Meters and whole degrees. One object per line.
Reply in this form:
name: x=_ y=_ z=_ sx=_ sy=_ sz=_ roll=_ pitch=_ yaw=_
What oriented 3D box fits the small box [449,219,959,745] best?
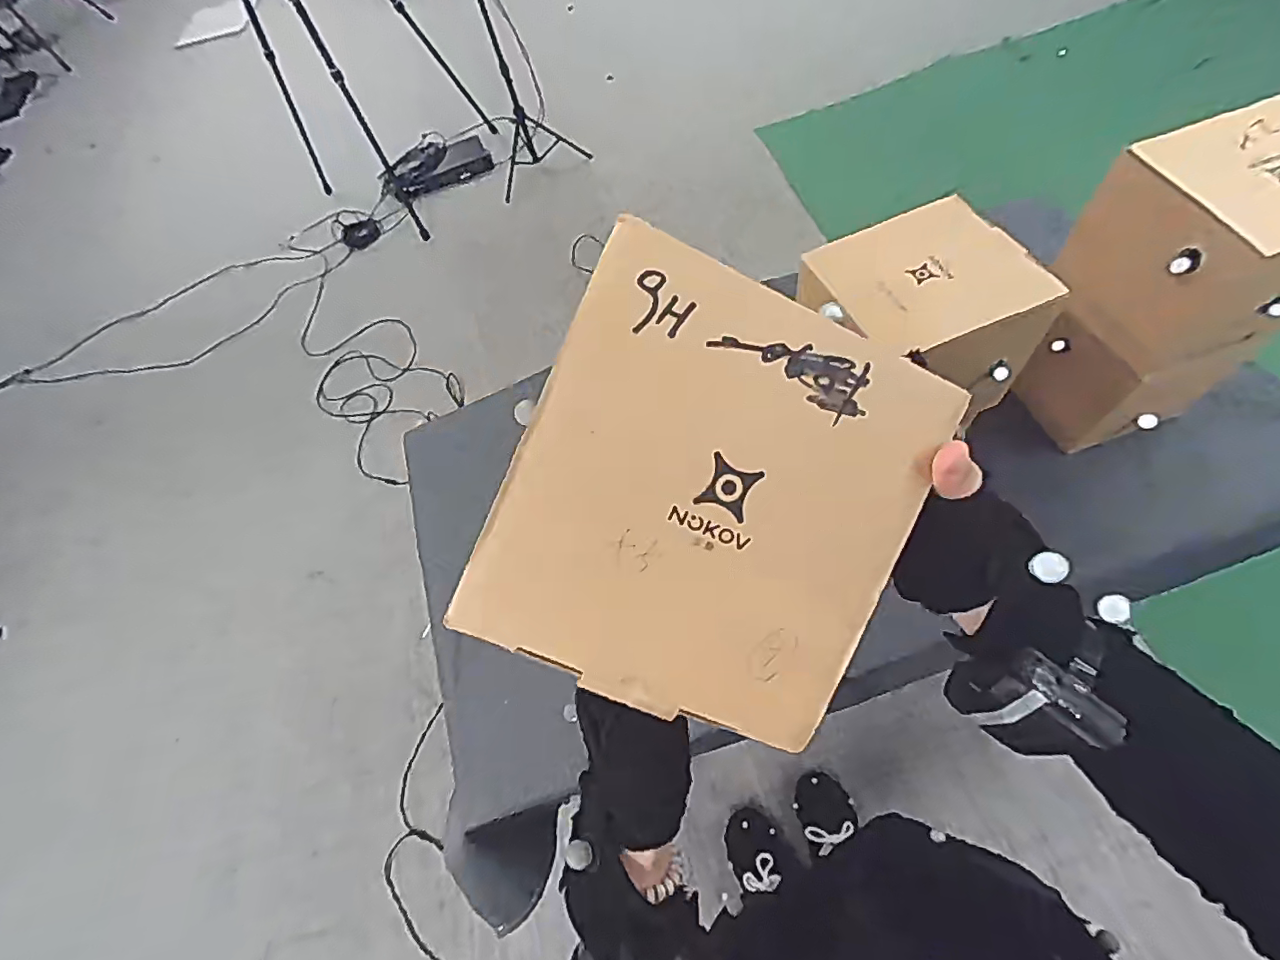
small box: x=0.021 y=0.000 z=0.303 sx=0.168 sy=0.176 sz=0.179 roll=24 pitch=93 yaw=-9

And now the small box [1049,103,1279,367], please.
small box: x=0.594 y=-0.242 z=0.569 sx=0.168 sy=0.176 sz=0.179 roll=-18 pitch=60 yaw=1

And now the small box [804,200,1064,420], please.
small box: x=0.285 y=-0.155 z=0.584 sx=0.179 sy=0.176 sz=0.168 roll=-22 pitch=59 yaw=-1
